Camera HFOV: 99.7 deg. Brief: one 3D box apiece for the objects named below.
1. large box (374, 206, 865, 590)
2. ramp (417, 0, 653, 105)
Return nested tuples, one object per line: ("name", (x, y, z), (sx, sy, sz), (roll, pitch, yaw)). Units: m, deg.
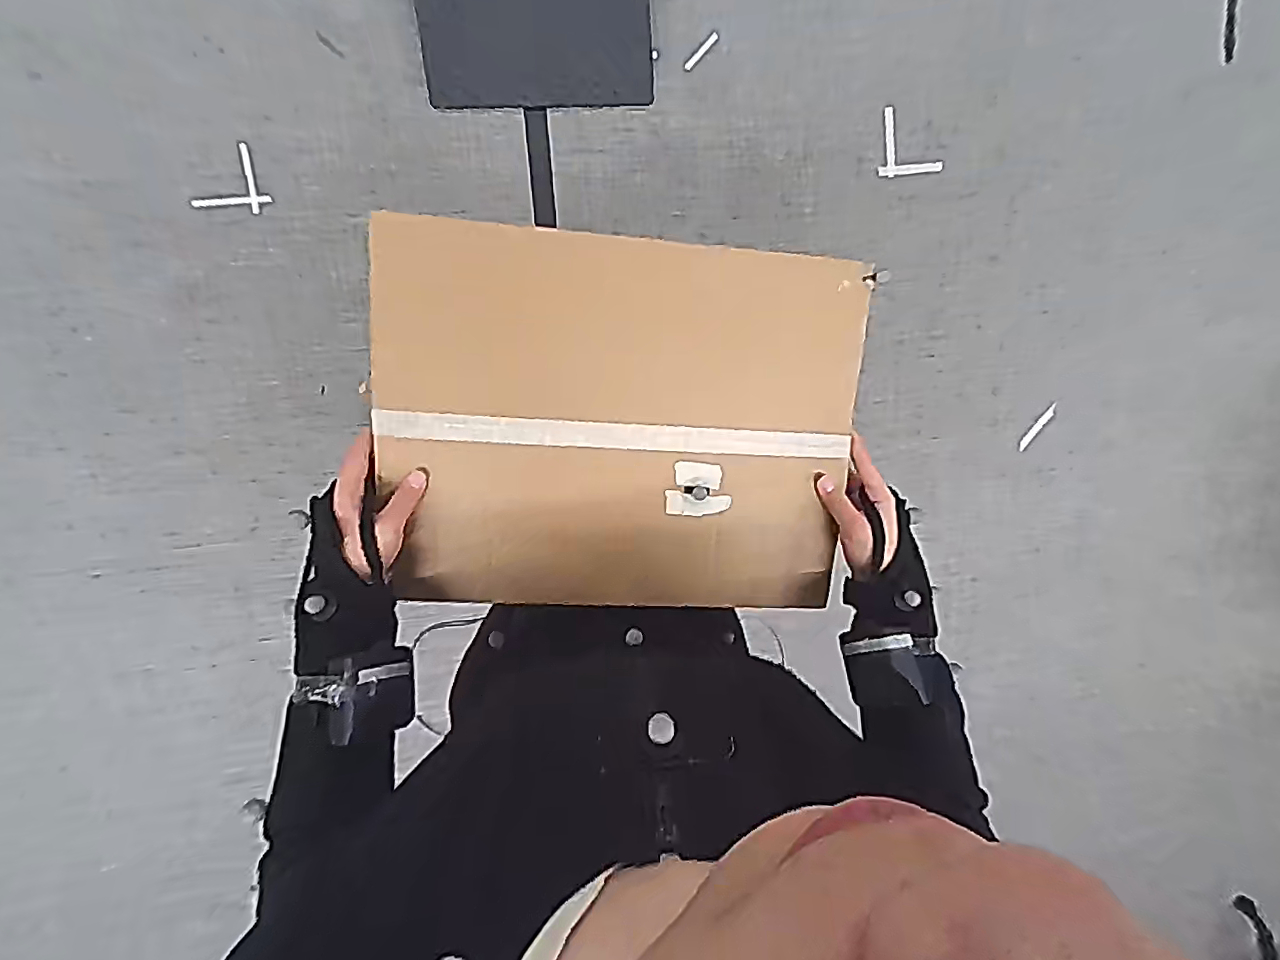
("large box", (-0.033, -0.080, 0.605), (0.408, 0.320, 0.320), (3, 103, -8))
("ramp", (-0.232, -1.305, 1.033), (0.509, 0.206, 0.991), (-8, 101, -9))
